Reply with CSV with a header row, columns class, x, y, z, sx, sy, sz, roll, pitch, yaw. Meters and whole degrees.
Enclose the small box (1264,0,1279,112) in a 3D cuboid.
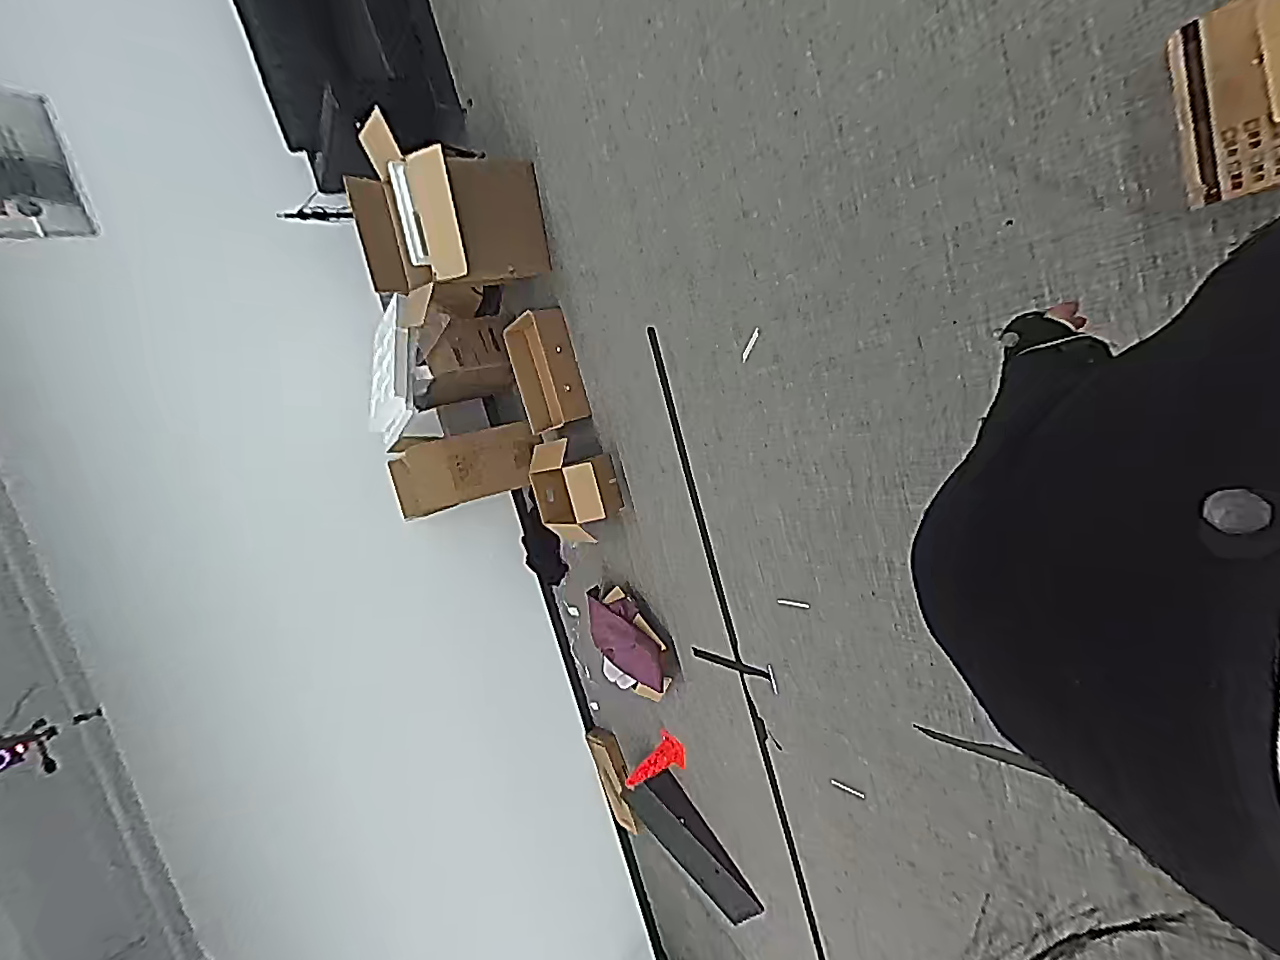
class,x,y,z,sx,sy,sz,roll,pitch,yaw
small box,0.974,-0.617,0.722,0.168,0.176,0.179,-7,101,55
